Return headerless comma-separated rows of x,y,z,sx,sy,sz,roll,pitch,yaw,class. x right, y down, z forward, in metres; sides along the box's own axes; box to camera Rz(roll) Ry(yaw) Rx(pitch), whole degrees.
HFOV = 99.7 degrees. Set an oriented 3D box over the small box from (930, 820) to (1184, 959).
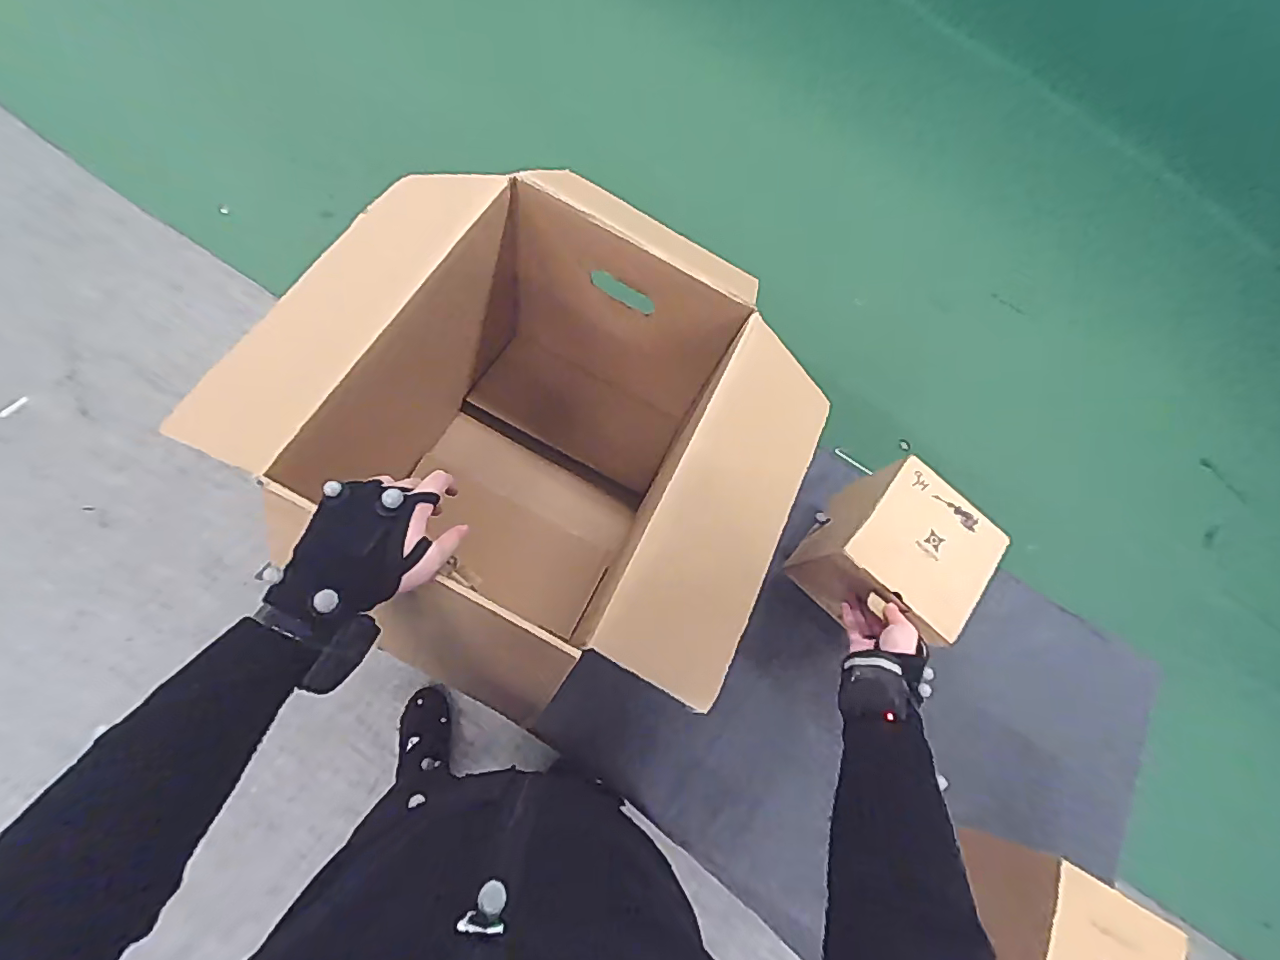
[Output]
0.492,0.560,0.658,0.168,0.176,0.179,32,67,0,small box
